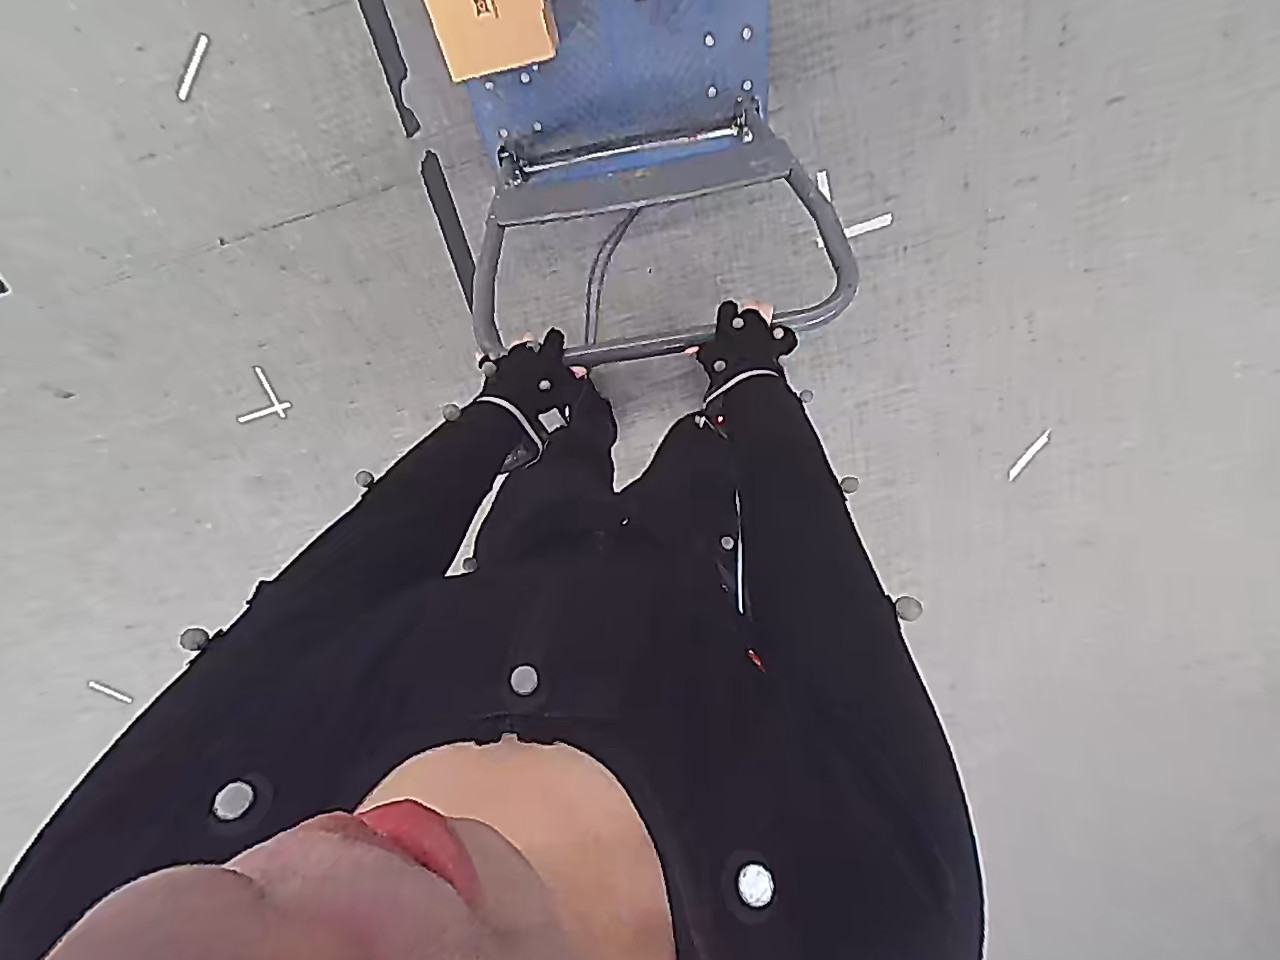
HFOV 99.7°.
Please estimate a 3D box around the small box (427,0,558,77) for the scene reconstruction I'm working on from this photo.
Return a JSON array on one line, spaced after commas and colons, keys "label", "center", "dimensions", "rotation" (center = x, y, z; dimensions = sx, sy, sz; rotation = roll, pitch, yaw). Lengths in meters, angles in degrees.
[{"label": "small box", "center": [-0.241, -0.784, 0.879], "dimensions": [0.179, 0.176, 0.168], "rotation": [-11, 134, 5]}]
